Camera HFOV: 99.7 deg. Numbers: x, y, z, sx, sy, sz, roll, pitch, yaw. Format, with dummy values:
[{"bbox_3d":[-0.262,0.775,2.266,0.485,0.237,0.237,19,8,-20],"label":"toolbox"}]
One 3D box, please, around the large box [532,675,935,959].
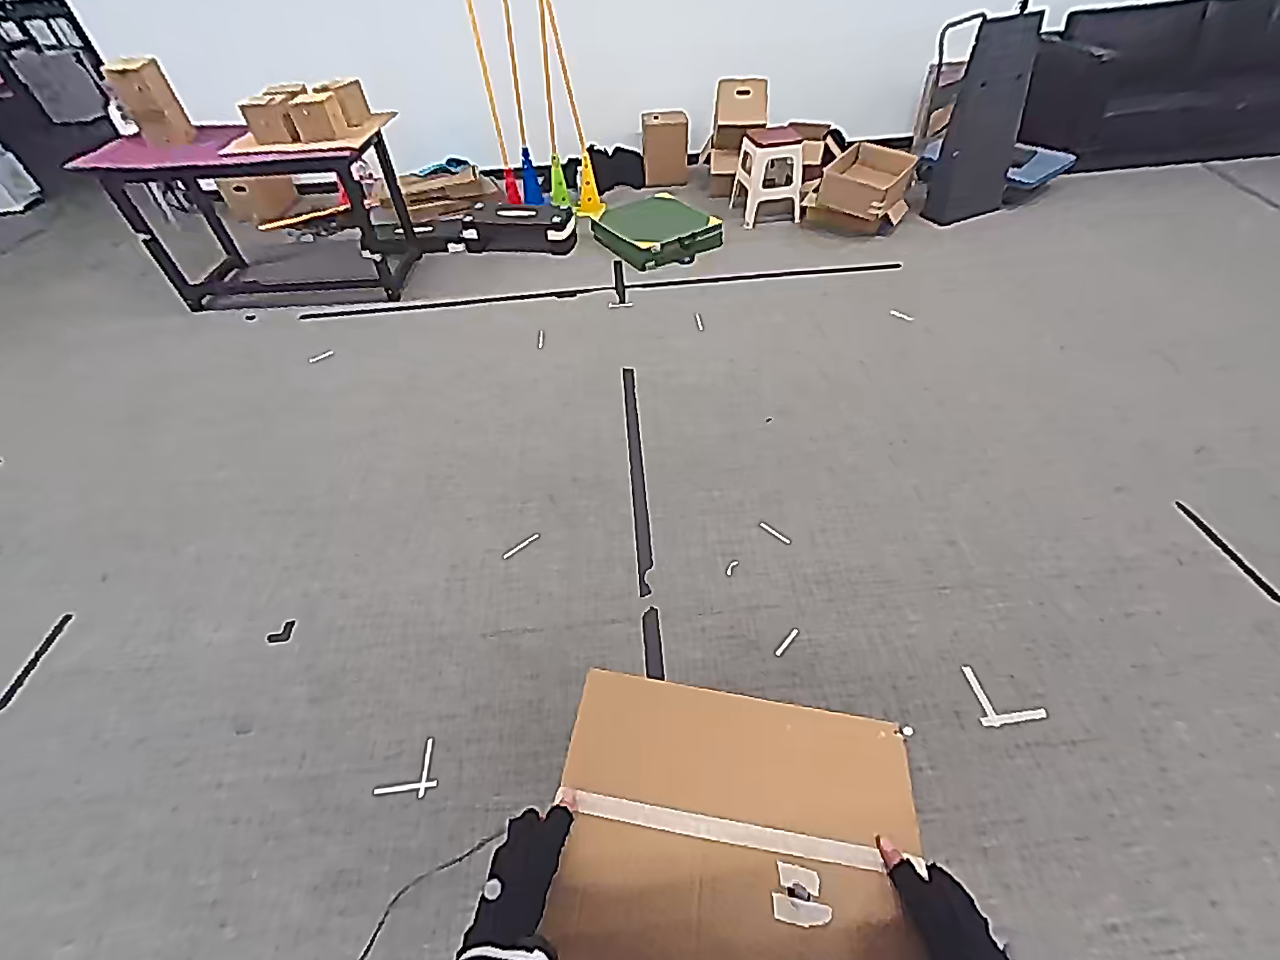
[{"bbox_3d":[0.104,0.499,0.714,0.408,0.320,0.320,9,46,5],"label":"large box"}]
